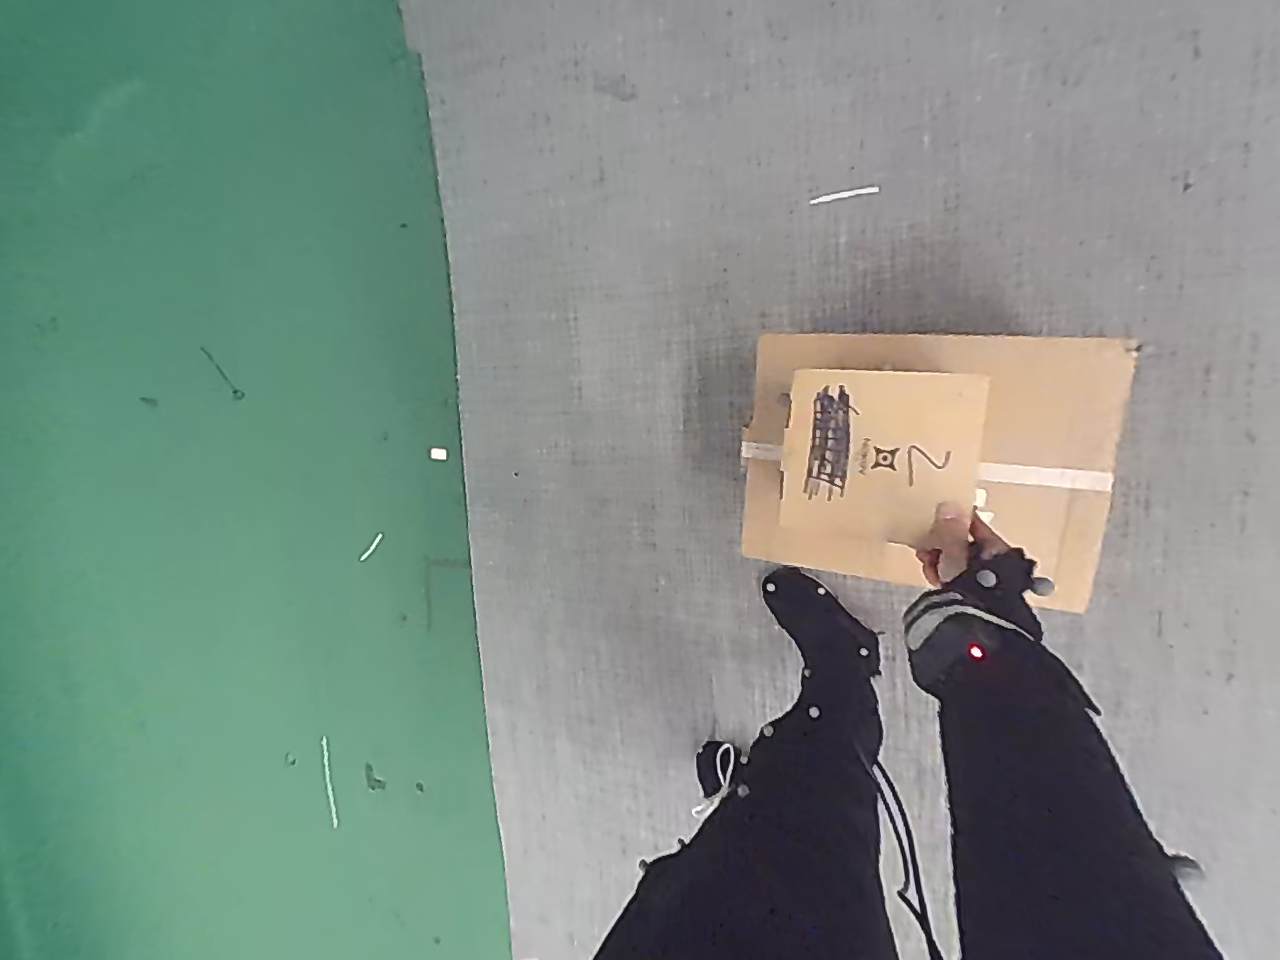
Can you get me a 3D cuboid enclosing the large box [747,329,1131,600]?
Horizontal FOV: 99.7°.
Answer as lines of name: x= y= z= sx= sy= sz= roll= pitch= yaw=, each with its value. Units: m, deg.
large box: x=0.392 y=-0.045 z=0.808 sx=0.408 sy=0.320 sz=0.320 roll=6 pitch=100 yaw=21
